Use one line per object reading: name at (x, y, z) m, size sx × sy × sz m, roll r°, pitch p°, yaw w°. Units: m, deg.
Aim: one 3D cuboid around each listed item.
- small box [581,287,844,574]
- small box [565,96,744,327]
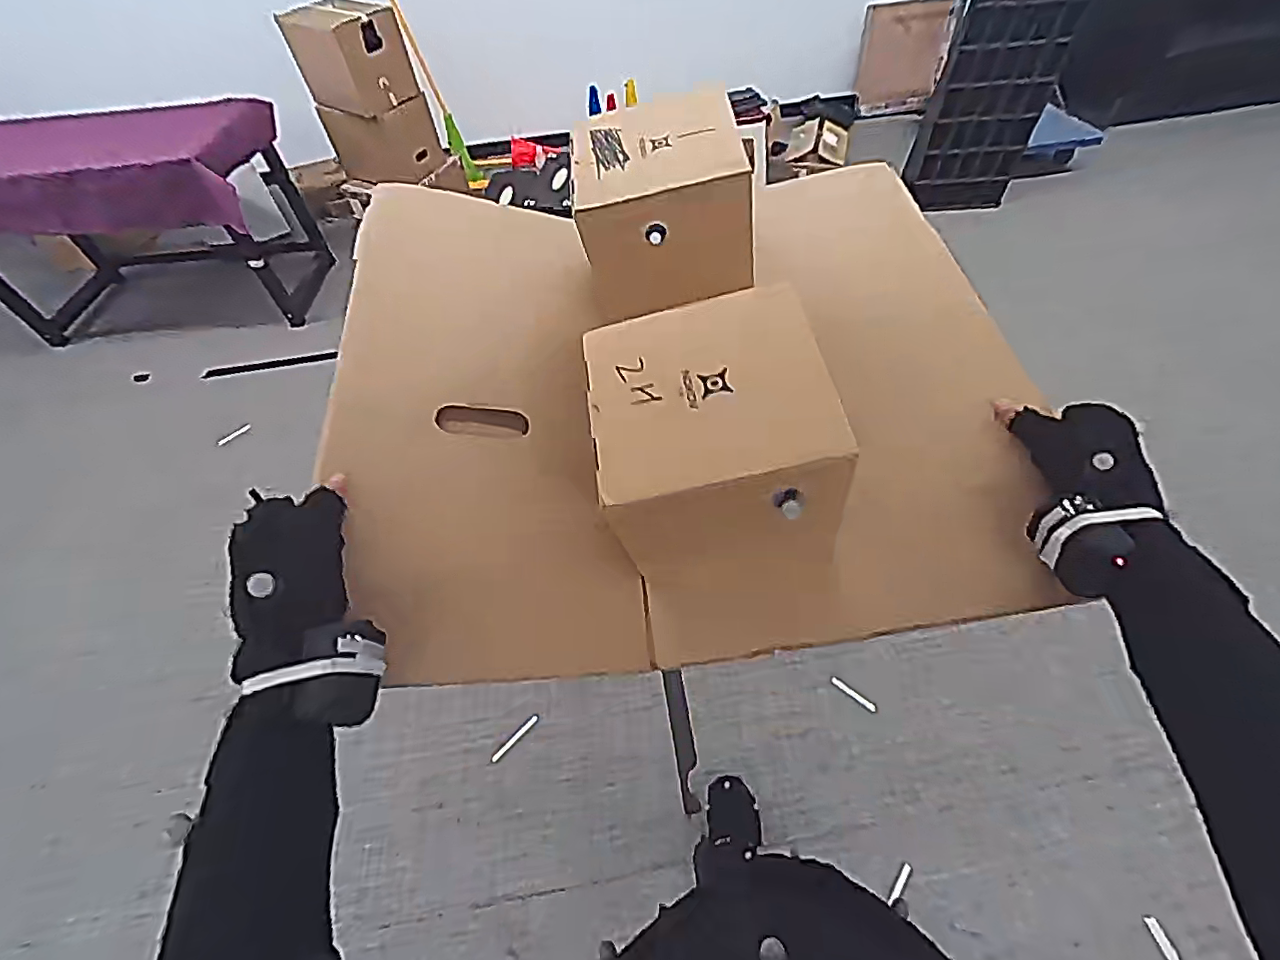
small box at (0.059, -0.032, 0.477) m, size 0.179 × 0.176 × 0.168 m, roll -13°, pitch 59°, yaw 8°
small box at (0.022, -0.302, 0.637) m, size 0.179 × 0.176 × 0.168 m, roll -10°, pitch 60°, yaw 7°
